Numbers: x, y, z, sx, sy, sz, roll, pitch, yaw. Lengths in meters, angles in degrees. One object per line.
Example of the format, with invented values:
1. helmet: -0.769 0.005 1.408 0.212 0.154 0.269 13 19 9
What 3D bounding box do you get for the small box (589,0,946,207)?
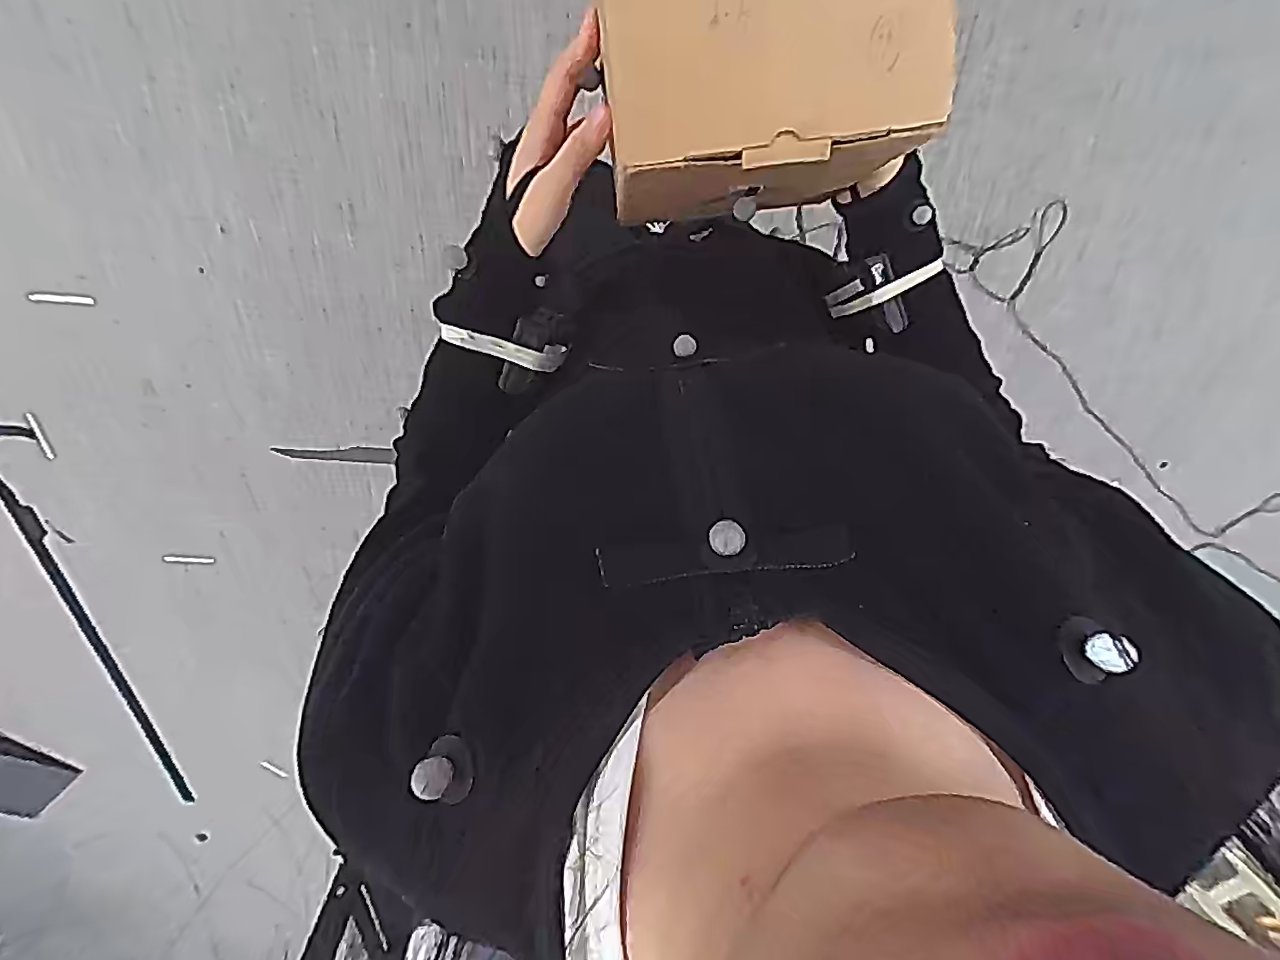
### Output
1. small box: 0.056 -0.273 0.320 0.168 0.176 0.179 -8 107 -1
